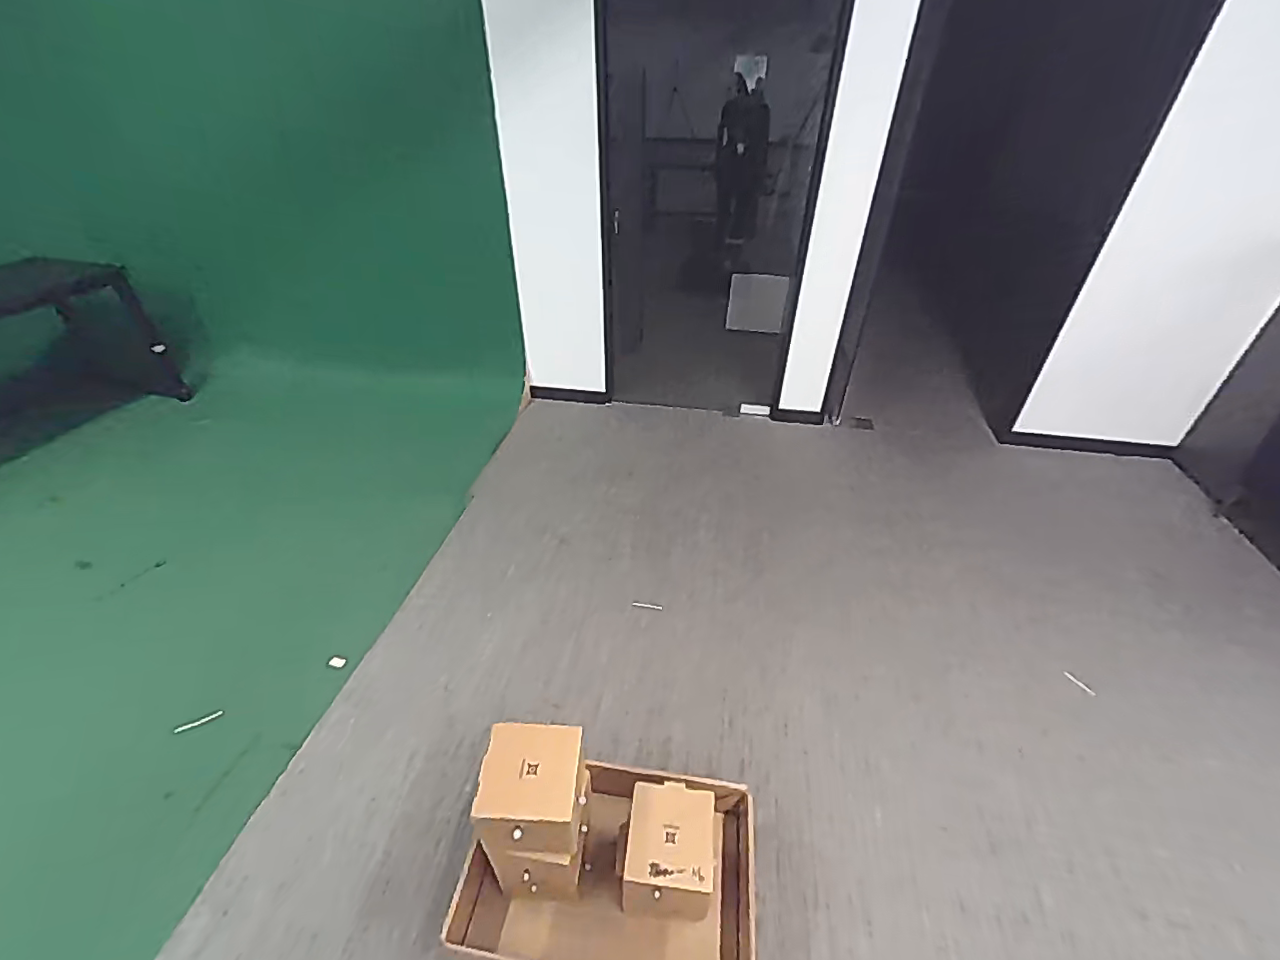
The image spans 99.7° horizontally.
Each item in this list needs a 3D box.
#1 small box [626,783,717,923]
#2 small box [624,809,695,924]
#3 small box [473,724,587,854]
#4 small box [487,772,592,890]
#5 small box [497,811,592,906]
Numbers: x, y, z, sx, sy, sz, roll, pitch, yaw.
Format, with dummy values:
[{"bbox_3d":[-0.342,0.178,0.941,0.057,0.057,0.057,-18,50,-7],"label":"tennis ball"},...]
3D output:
[{"bbox_3d":[0.064,0.749,1.090,0.168,0.176,0.179,4,37,6],"label":"small box"},{"bbox_3d":[0.060,0.864,1.208,0.179,0.176,0.168,2,38,2],"label":"small box"},{"bbox_3d":[-0.197,0.588,1.027,0.179,0.176,0.168,2,39,1],"label":"small box"},{"bbox_3d":[-0.198,0.718,1.125,0.168,0.176,0.179,7,39,6],"label":"small box"},{"bbox_3d":[-0.209,0.842,1.233,0.179,0.176,0.168,6,38,2],"label":"small box"}]
